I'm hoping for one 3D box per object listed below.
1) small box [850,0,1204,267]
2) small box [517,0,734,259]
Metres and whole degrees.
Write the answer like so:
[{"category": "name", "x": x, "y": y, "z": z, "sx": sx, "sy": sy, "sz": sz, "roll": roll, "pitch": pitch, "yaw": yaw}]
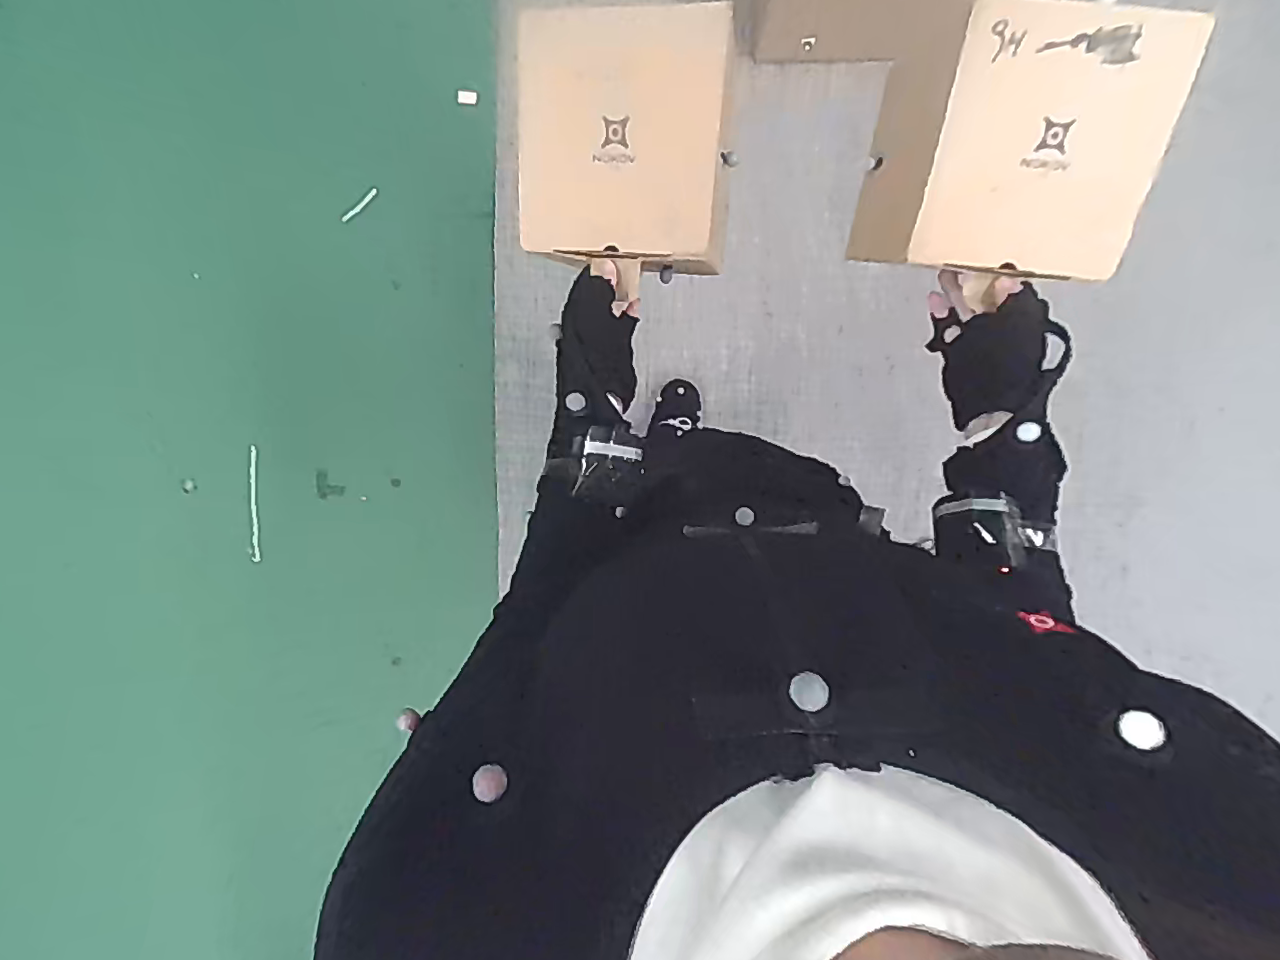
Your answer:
[{"category": "small box", "x": 0.303, "y": -0.294, "z": 0.478, "sx": 0.168, "sy": 0.176, "sz": 0.179, "roll": 6, "pitch": 114, "yaw": 0}, {"category": "small box", "x": -0.004, "y": -0.308, "z": 0.505, "sx": 0.168, "sy": 0.176, "sz": 0.179, "roll": 6, "pitch": 107, "yaw": 10}]
